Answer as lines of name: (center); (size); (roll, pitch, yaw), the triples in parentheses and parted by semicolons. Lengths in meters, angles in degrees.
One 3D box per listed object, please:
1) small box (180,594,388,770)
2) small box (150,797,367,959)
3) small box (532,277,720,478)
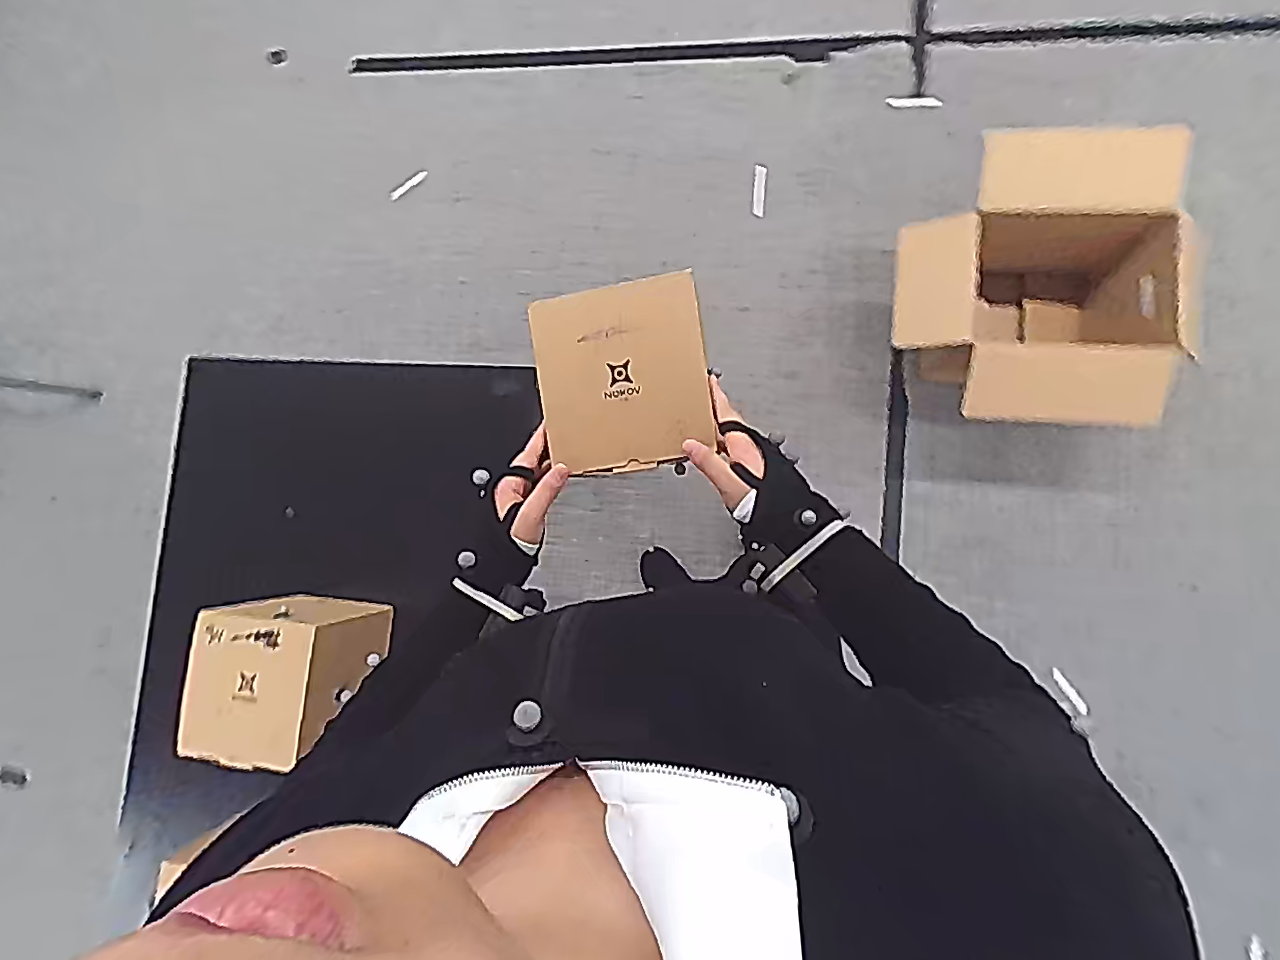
small box: (-0.475, 0.264, 0.747); (0.168, 0.176, 0.179); (4, 86, 7)
small box: (-0.493, 0.555, 0.720); (0.168, 0.176, 0.179); (2, 85, 8)
small box: (-0.003, -0.101, 0.602); (0.168, 0.176, 0.179); (-7, 91, 10)
